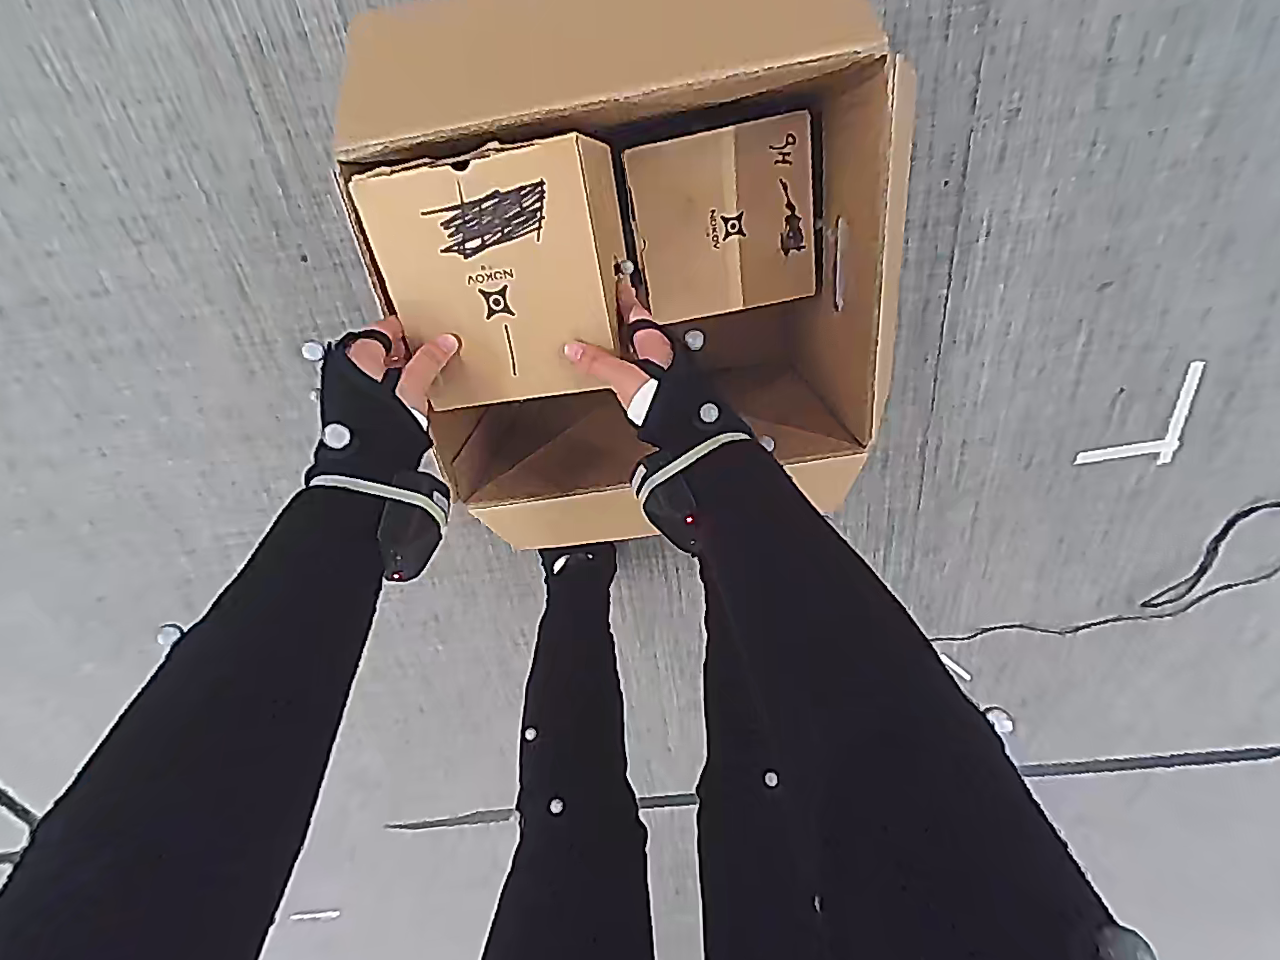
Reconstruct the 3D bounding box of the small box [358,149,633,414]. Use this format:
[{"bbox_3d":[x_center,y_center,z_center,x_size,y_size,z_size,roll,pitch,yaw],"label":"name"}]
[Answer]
[{"bbox_3d":[-0.103,-0.178,0.480,0.168,0.176,0.179,-6,120,8],"label":"small box"}]
